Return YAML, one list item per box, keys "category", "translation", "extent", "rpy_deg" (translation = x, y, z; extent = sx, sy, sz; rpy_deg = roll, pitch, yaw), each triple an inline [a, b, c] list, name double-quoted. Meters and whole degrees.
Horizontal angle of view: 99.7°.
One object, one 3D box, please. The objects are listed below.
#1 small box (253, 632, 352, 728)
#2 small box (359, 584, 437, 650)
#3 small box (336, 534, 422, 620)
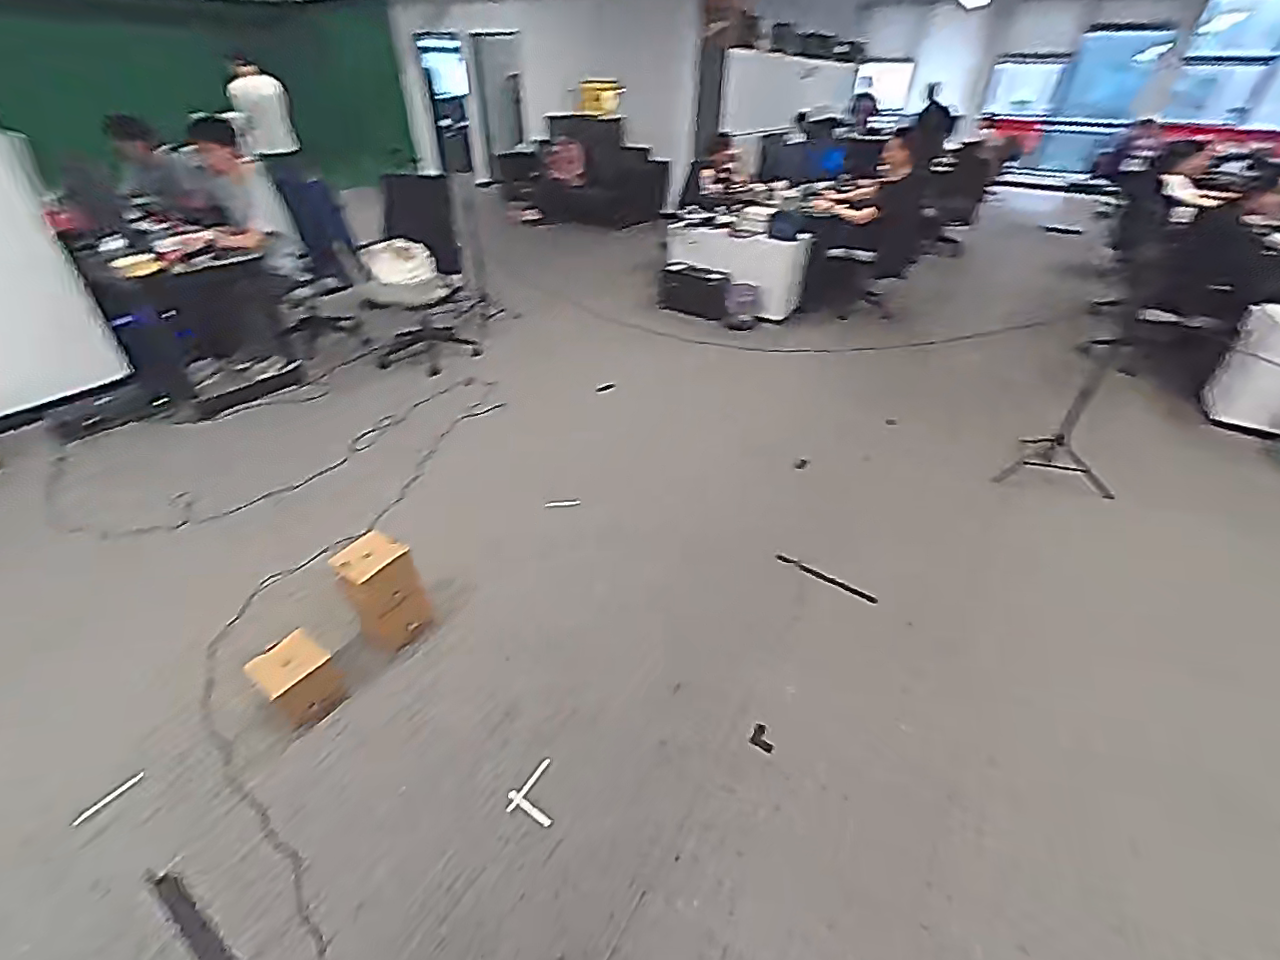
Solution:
- category: "small box"
  translation: [-0.995, 0.594, 1.602]
  extent: [0.179, 0.176, 0.168]
  rpy_deg: [25, 43, 27]
- category: "small box"
  translation: [-0.816, 0.437, 1.817]
  extent: [0.179, 0.176, 0.168]
  rpy_deg: [22, 41, 25]
- category: "small box"
  translation: [-0.819, 0.307, 1.716]
  extent: [0.168, 0.176, 0.179]
  rpy_deg: [21, 40, 25]
